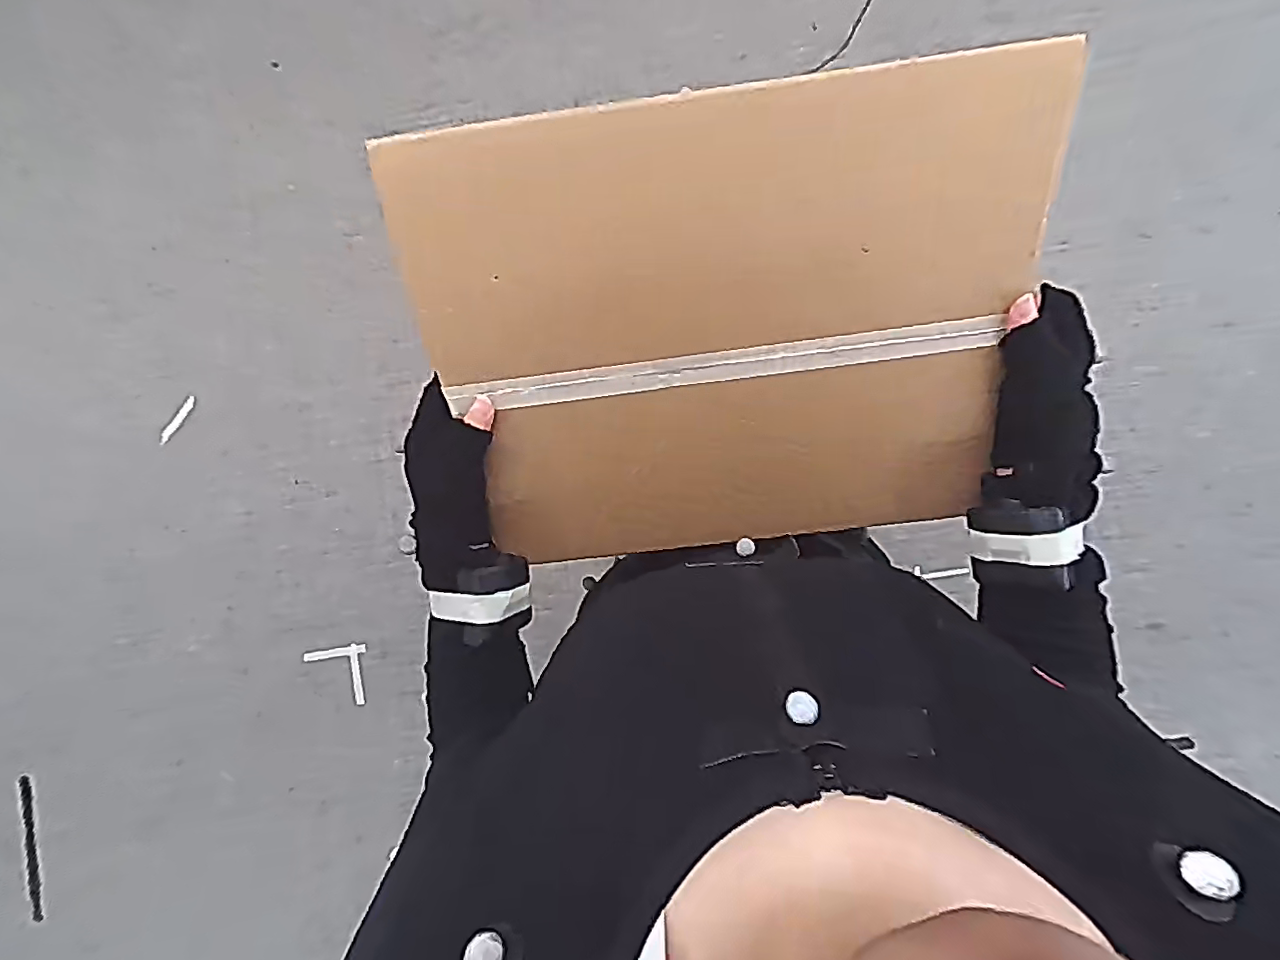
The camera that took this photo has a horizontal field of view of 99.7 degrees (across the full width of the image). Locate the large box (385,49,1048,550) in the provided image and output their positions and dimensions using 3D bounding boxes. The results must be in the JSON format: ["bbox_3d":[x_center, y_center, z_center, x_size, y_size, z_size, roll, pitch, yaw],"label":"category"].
[{"bbox_3d":[0.056,-0.168,0.521,0.408,0.320,0.320,-7,121,3],"label":"large box"}]
